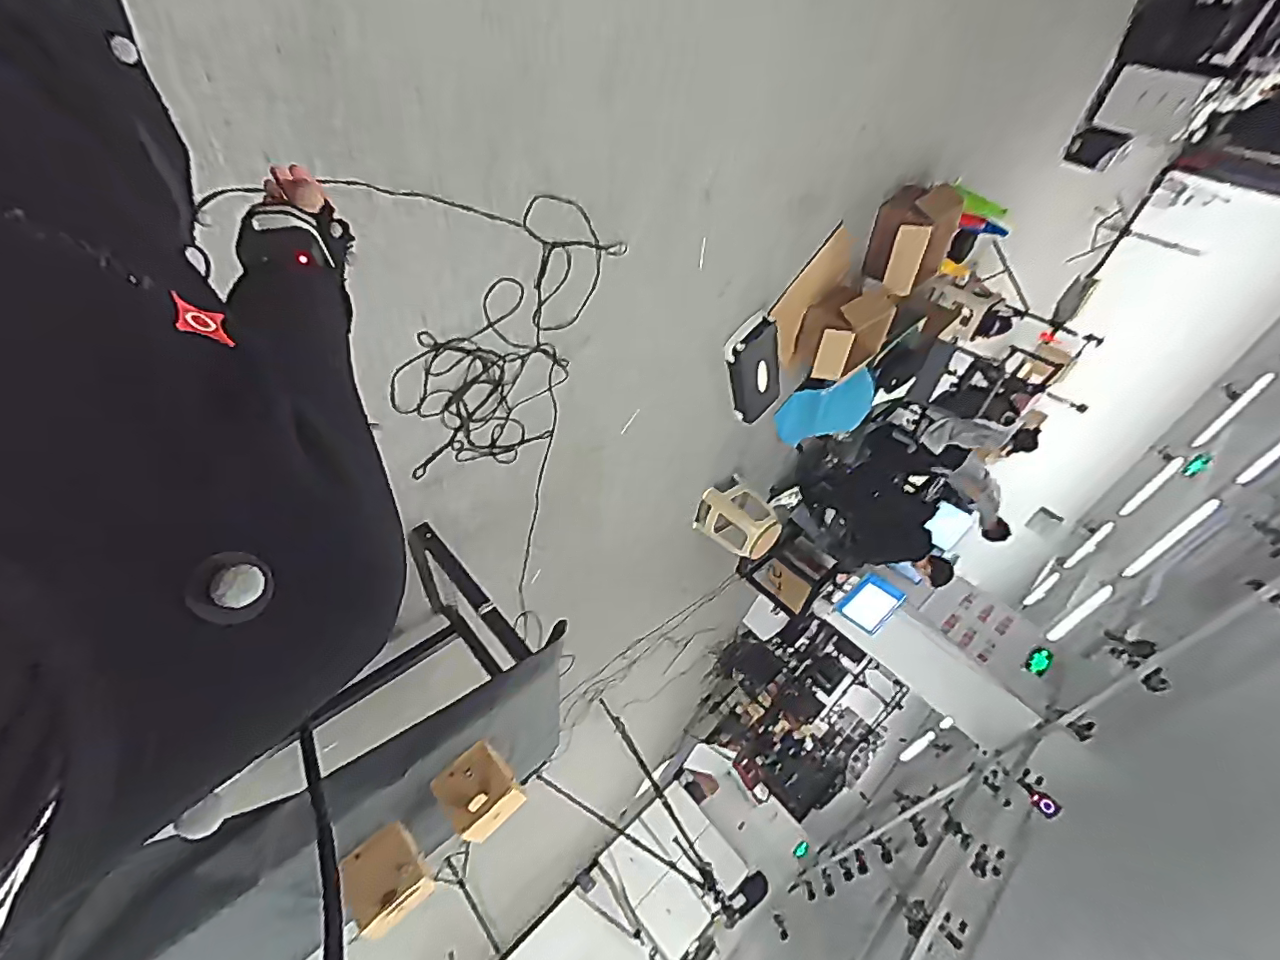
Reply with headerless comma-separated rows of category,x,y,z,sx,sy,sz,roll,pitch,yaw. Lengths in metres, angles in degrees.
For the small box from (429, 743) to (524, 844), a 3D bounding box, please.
small box,-0.450,0.864,1.496,0.168,0.176,0.179,-37,148,-22
